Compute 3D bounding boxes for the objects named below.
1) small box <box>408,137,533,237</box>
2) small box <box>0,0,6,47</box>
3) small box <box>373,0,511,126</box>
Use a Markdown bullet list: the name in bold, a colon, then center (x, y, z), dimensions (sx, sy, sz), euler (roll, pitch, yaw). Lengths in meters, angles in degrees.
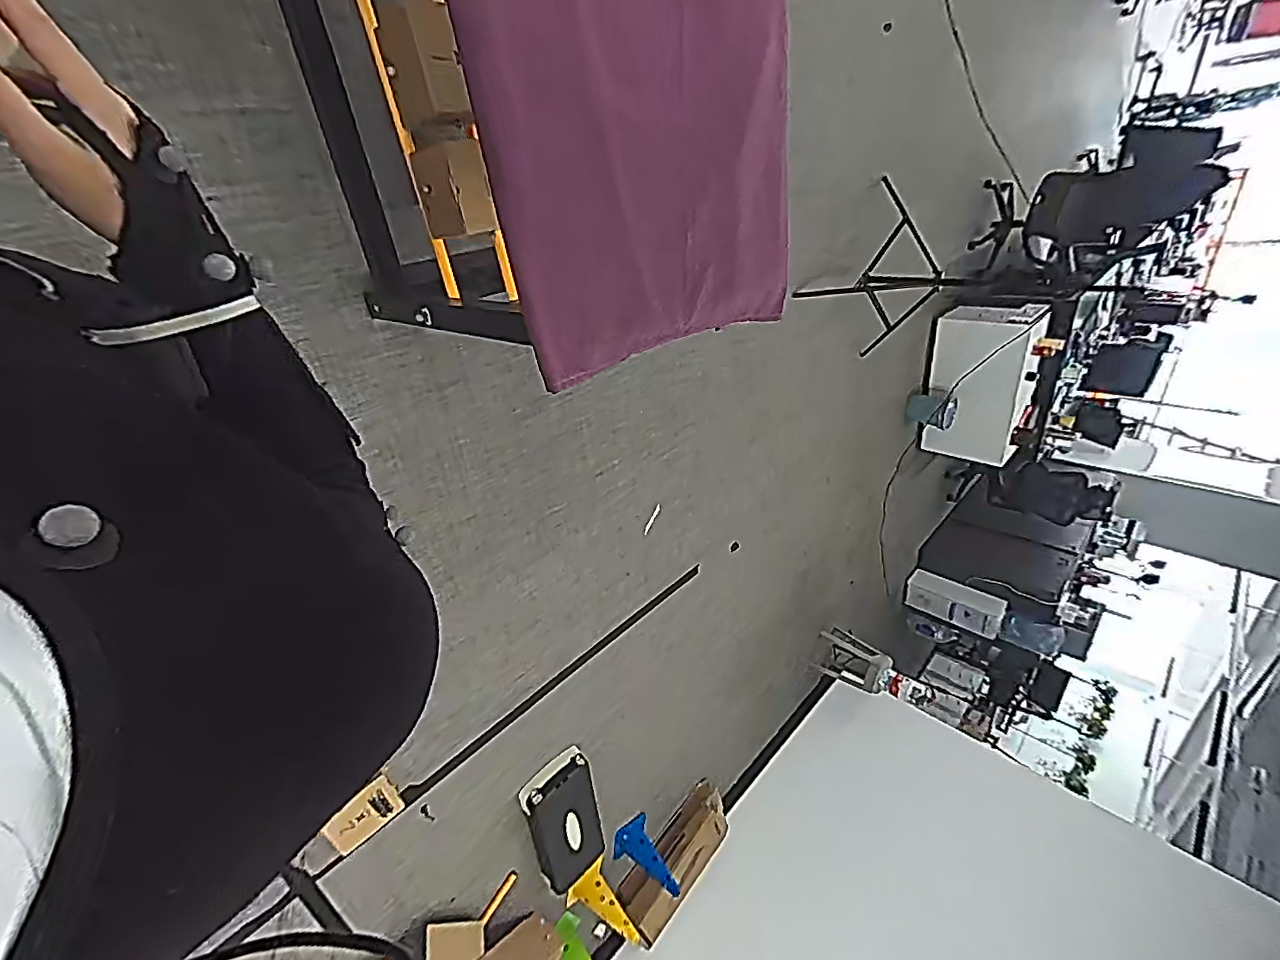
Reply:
- **small box**: center (-0.359, -0.621, 1.152), dimensions (0.179, 0.176, 0.168), euler (-30, 125, -34)
- **small box**: center (-0.396, -0.298, 0.208), dimensions (0.168, 0.176, 0.179), euler (-12, 133, -39)
- **small box**: center (-0.384, -0.802, 1.055), dimensions (0.179, 0.176, 0.168), euler (-30, 125, -33)
